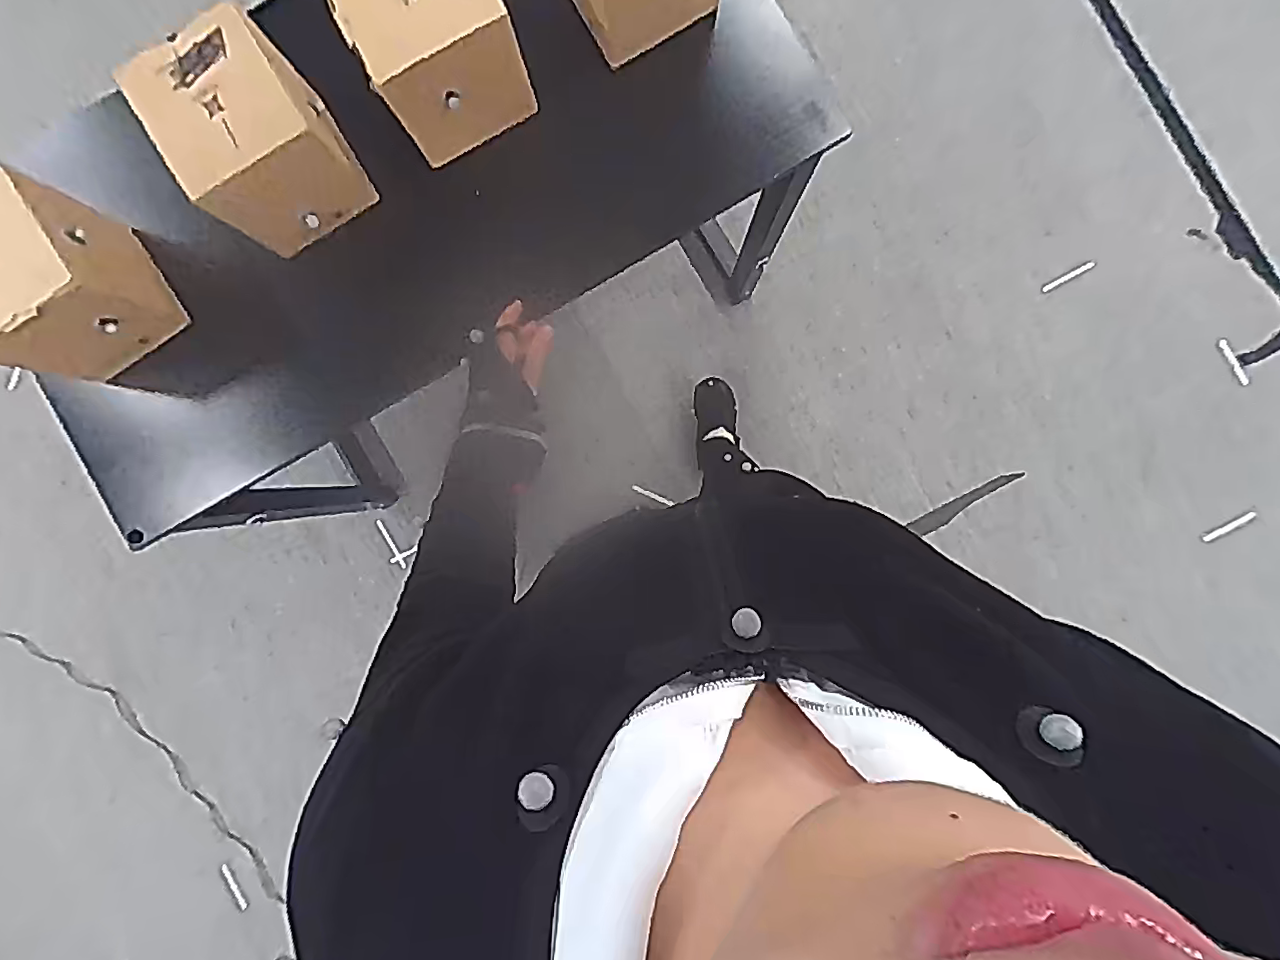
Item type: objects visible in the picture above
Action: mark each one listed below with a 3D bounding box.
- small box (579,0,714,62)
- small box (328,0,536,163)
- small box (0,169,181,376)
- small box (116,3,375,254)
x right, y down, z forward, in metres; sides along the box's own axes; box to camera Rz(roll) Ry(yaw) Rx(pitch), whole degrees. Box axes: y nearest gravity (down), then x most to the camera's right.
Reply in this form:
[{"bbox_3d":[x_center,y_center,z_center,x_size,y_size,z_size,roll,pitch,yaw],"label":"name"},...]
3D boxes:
[{"bbox_3d":[-0.005,-0.691,0.683,0.179,0.176,0.168,-29,90,2],"label":"small box"},{"bbox_3d":[-0.258,-0.554,0.692,0.179,0.176,0.168,-28,89,2],"label":"small box"},{"bbox_3d":[-0.768,-0.253,0.705,0.168,0.176,0.179,-34,89,0],"label":"small box"},{"bbox_3d":[-0.488,-0.432,0.697,0.168,0.176,0.179,-31,90,1],"label":"small box"}]
